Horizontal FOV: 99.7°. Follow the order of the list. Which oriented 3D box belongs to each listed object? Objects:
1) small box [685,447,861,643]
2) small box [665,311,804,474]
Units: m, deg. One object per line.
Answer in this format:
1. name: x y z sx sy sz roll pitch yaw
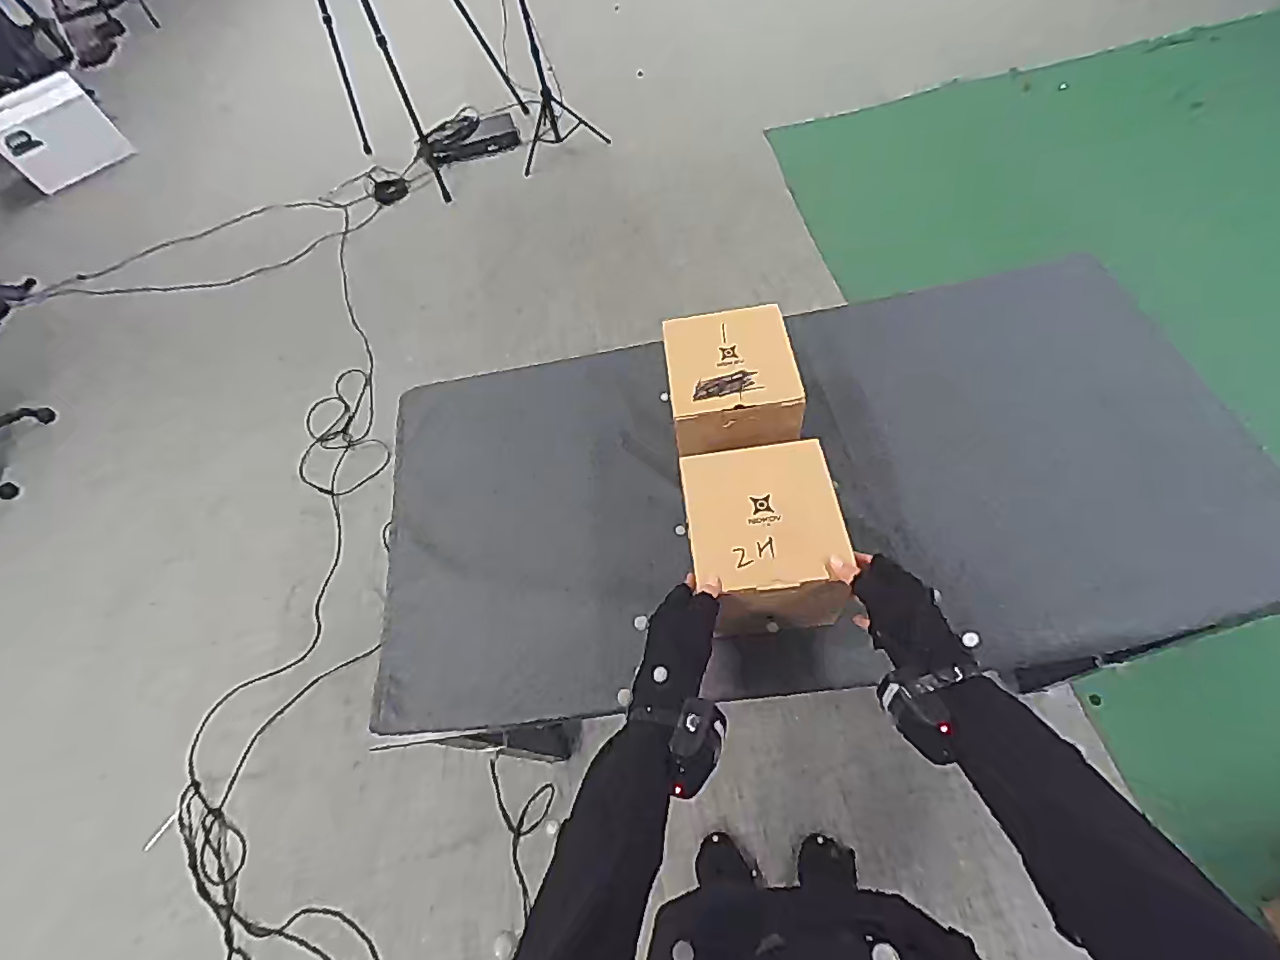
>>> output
1. small box: 0.148 0.085 0.663 0.168 0.176 0.179 -8 59 5
2. small box: 0.131 -0.110 0.782 0.168 0.176 0.179 -7 59 5
